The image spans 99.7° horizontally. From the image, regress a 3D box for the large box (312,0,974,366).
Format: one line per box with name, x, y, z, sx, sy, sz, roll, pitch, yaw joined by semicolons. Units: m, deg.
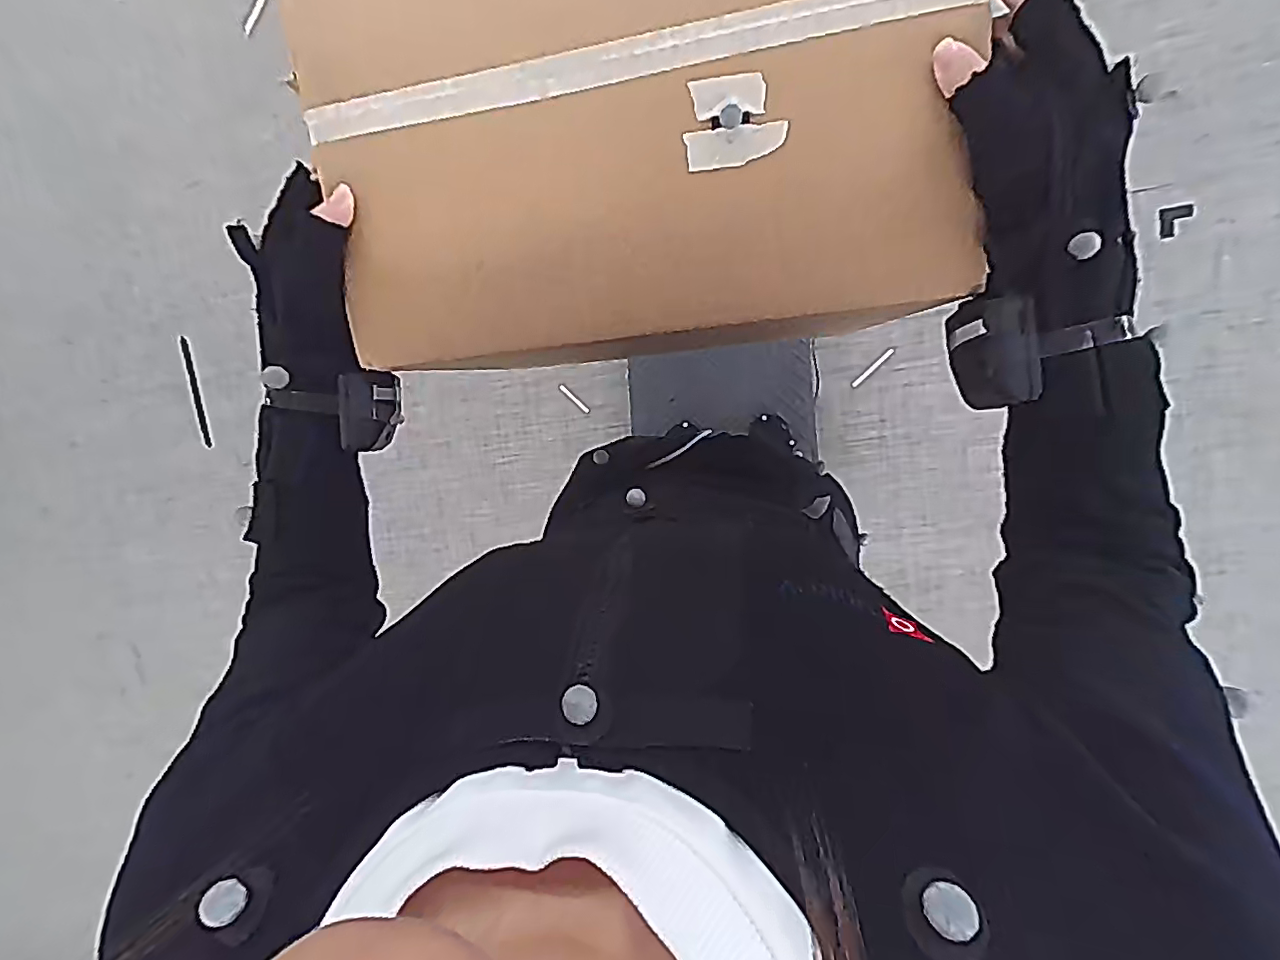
large box;0.009;-0.282;0.478;0.408;0.320;0.320;-5;101;9
